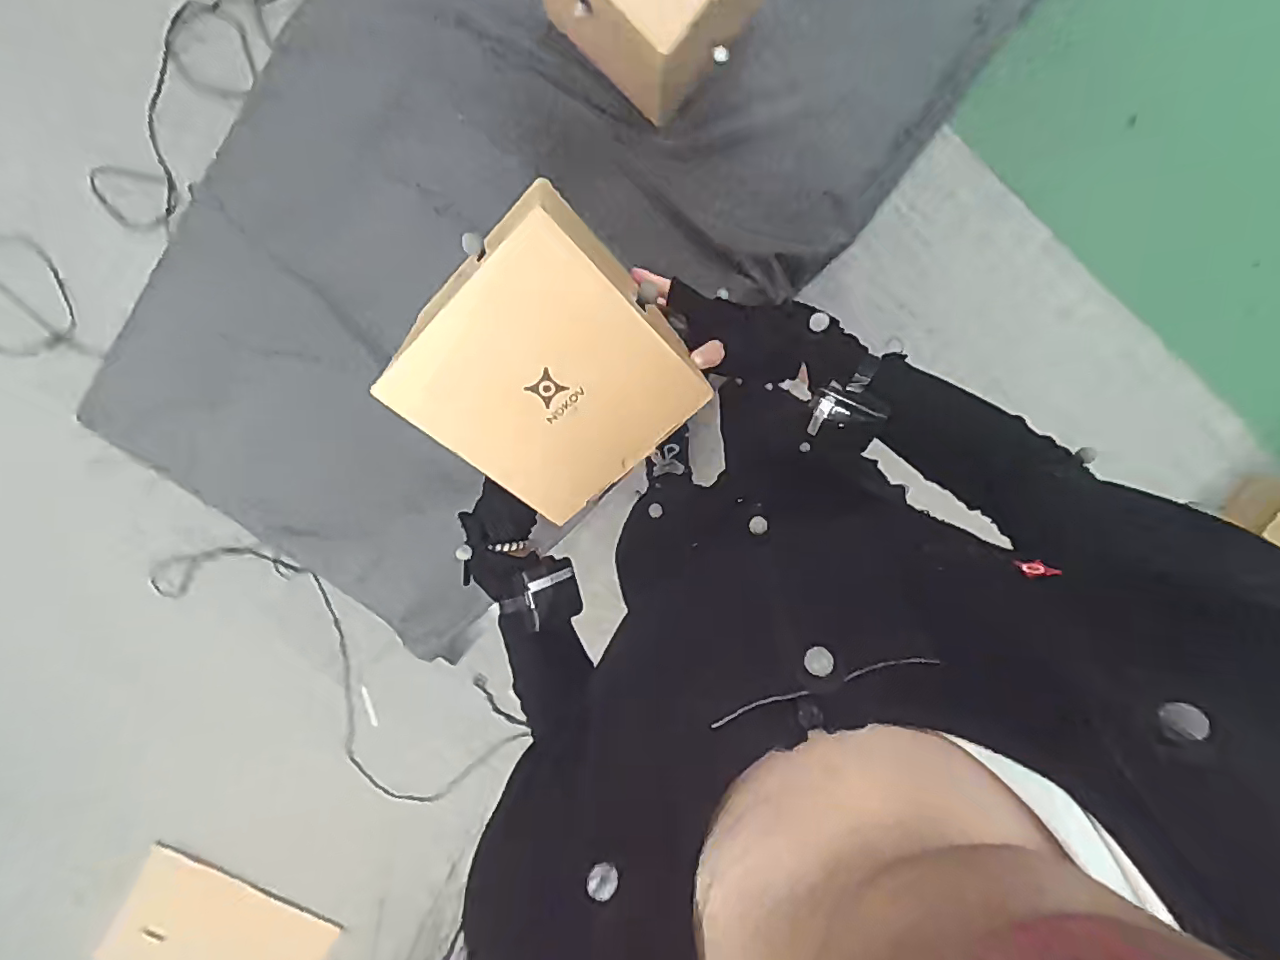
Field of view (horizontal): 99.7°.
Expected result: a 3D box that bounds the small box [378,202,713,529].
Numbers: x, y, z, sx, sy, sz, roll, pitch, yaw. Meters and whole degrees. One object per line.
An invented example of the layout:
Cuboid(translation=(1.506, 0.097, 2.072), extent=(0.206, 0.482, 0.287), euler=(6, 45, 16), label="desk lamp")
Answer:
Cuboid(translation=(-0.073, -0.100, 0.443), extent=(0.168, 0.176, 0.179), euler=(-39, 123, 16), label="small box")

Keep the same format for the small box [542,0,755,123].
Cuboid(translation=(0.007, -0.501, 0.528), extent=(0.179, 0.176, 0.168), euler=(41, 101, -9), label="small box")
